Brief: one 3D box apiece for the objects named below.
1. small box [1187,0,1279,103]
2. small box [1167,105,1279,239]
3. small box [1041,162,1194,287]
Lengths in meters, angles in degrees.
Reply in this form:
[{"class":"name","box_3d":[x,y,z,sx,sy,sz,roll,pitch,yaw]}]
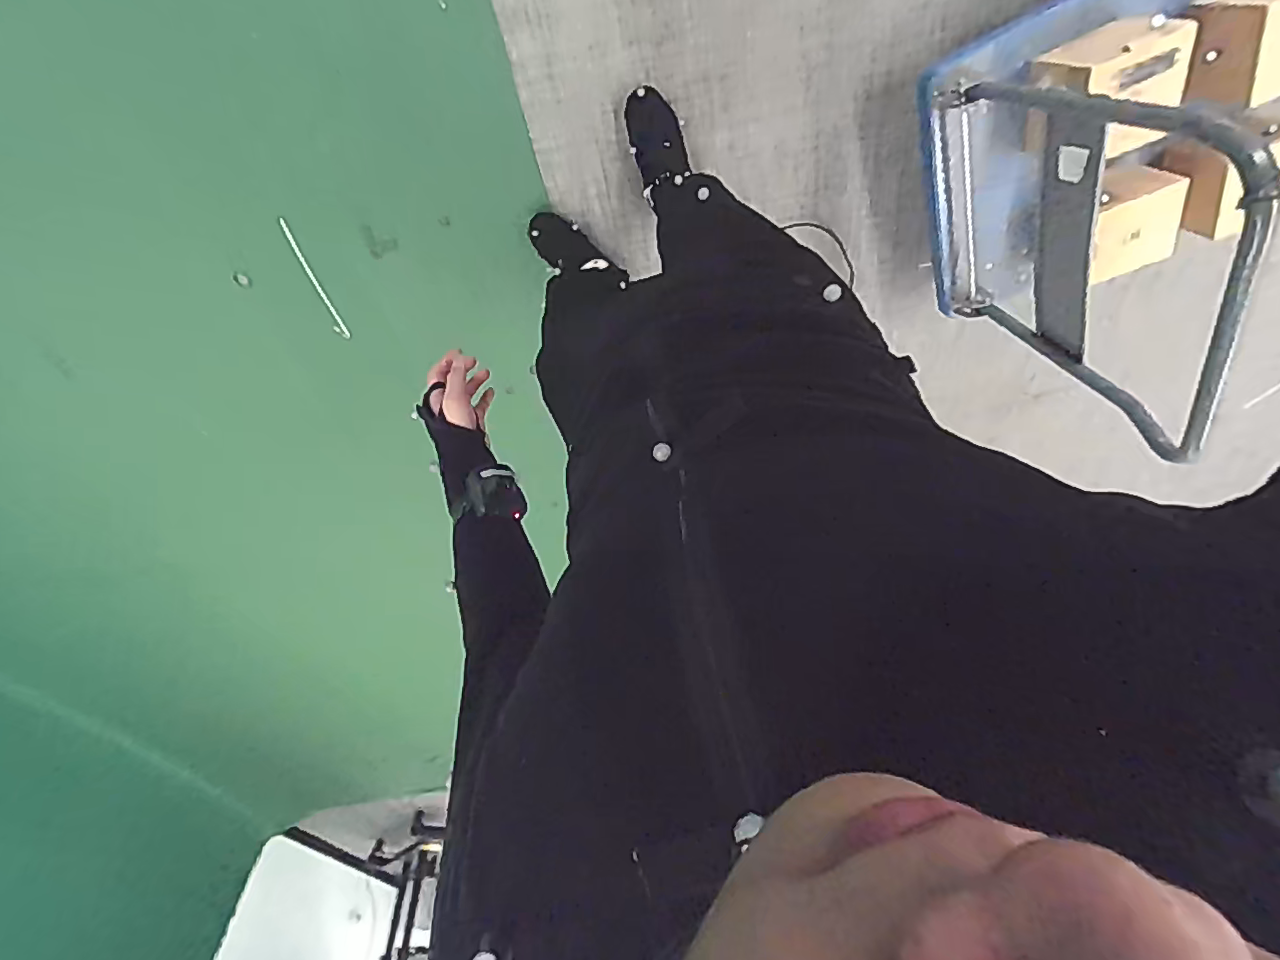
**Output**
[{"class":"small box","box_3d":[1.134,-0.808,0.954,0.179,0.176,0.168,-24,129,17]},{"class":"small box","box_3d":[1.242,-0.636,1.111,0.179,0.176,0.168,-22,128,16]},{"class":"small box","box_3d":[1.018,-0.557,1.170,0.179,0.176,0.168,-19,129,14]}]
